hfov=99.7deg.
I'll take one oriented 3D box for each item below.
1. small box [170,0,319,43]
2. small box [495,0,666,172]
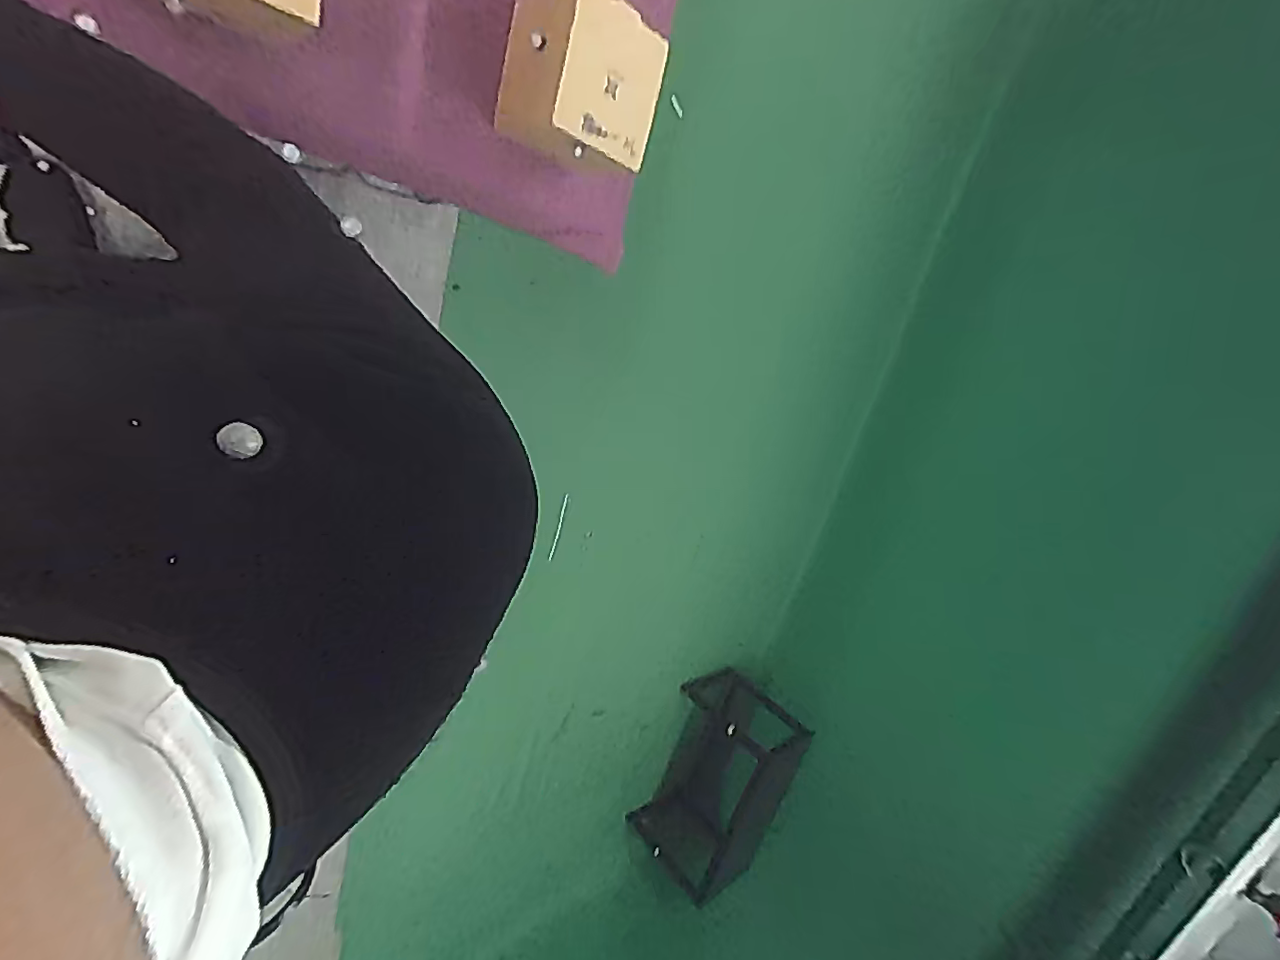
[{"bbox_3d":[-0.406,-0.551,0.499,0.168,0.176,0.179,-3,115,-45],"label":"small box"},{"bbox_3d":[-0.094,-0.581,0.801,0.168,0.176,0.179,0,112,-45],"label":"small box"}]
